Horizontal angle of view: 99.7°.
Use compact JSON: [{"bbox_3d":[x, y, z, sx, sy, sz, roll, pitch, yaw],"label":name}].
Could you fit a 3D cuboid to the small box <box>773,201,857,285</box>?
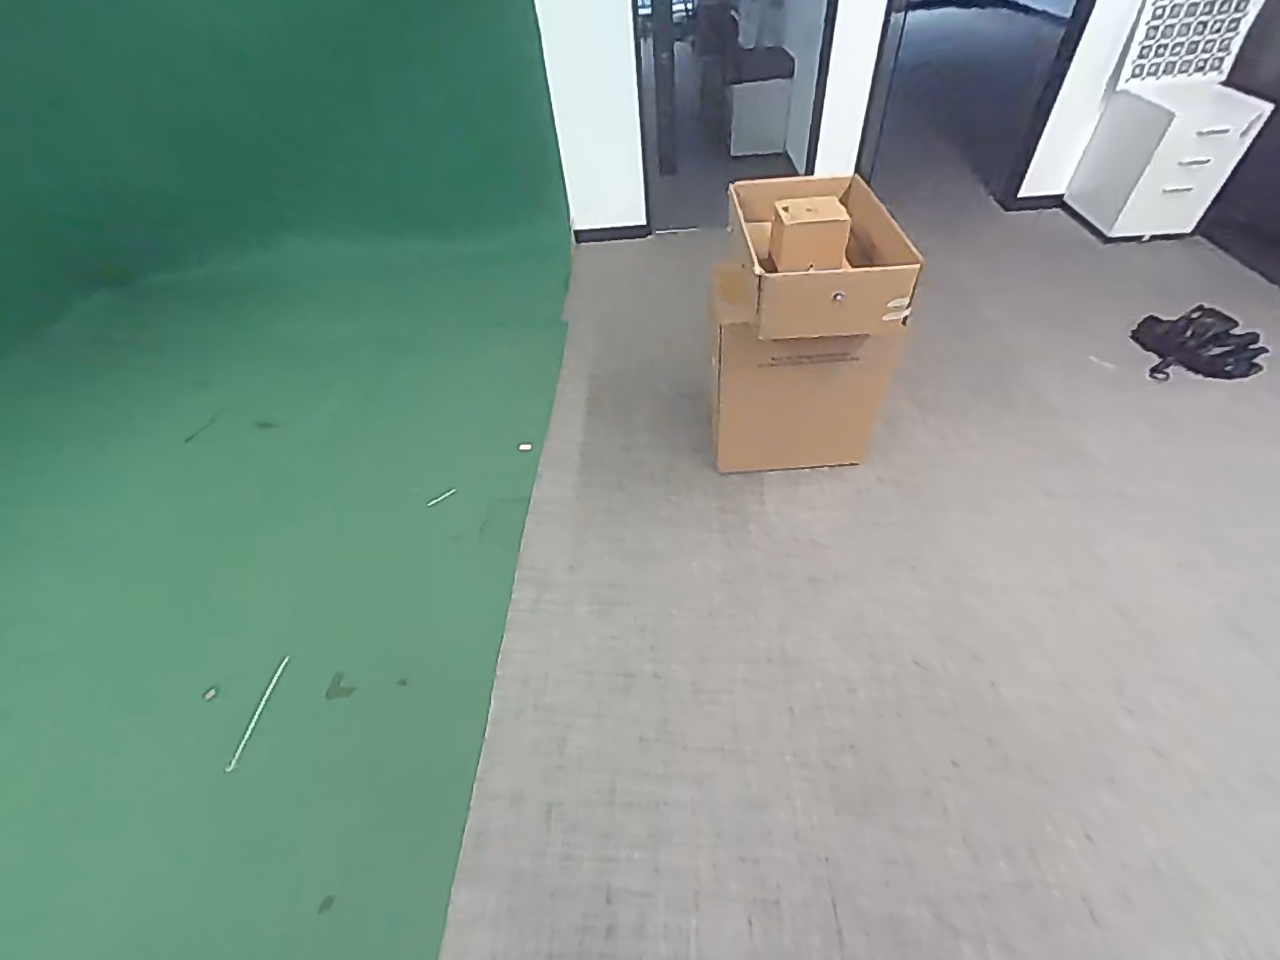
[{"bbox_3d":[0.484,-0.665,1.523,0.179,0.176,0.168,-2,46,2],"label":"small box"}]
